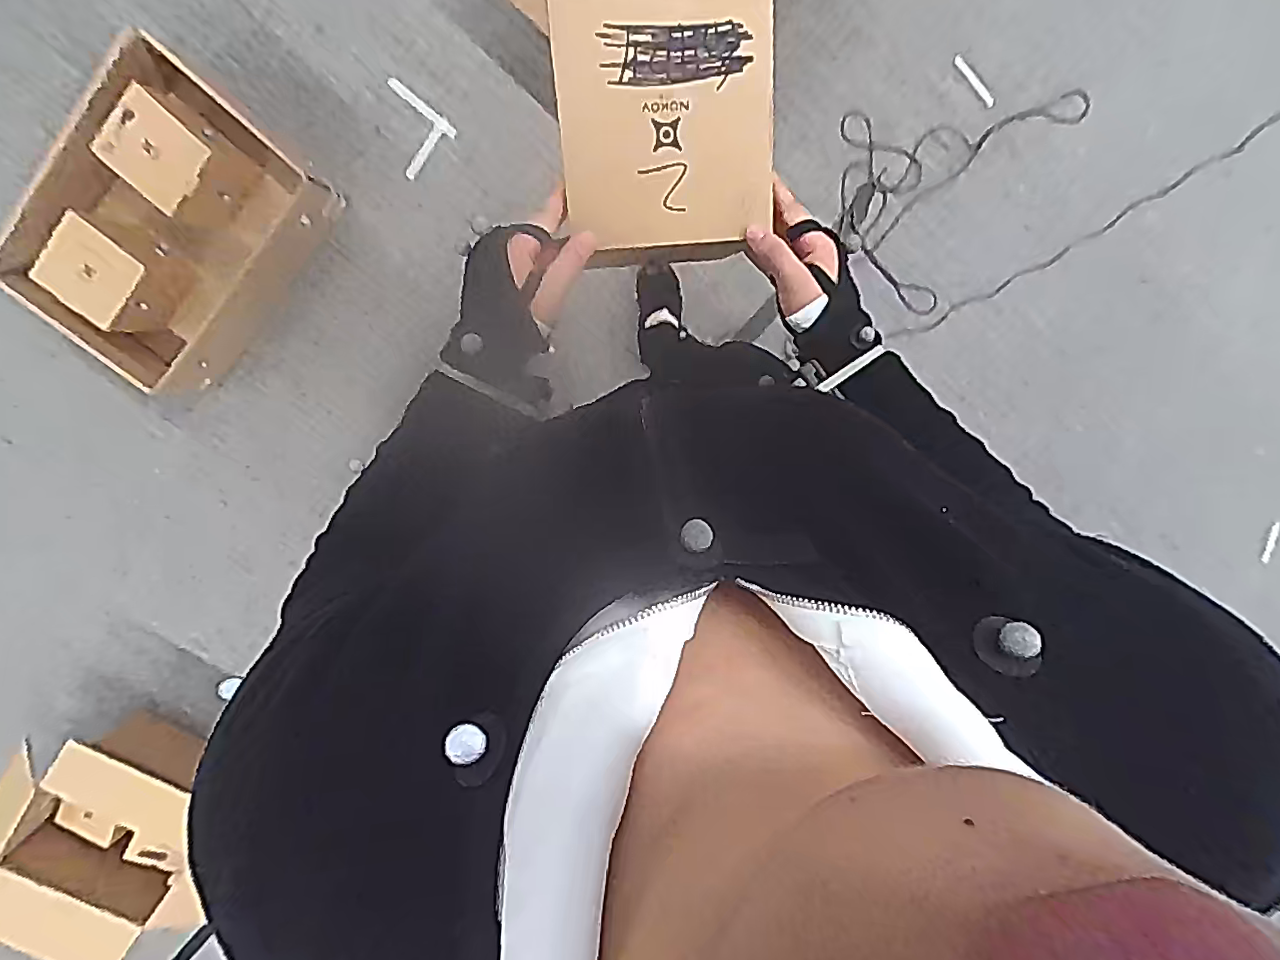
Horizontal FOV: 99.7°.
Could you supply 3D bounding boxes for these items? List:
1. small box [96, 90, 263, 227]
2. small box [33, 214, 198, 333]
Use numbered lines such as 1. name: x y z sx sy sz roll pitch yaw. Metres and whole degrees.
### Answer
1. small box: -0.960 -0.664 1.147 0.179 0.176 0.168 43 101 -14
2. small box: -1.145 -0.446 1.199 0.168 0.176 0.179 40 98 -14
